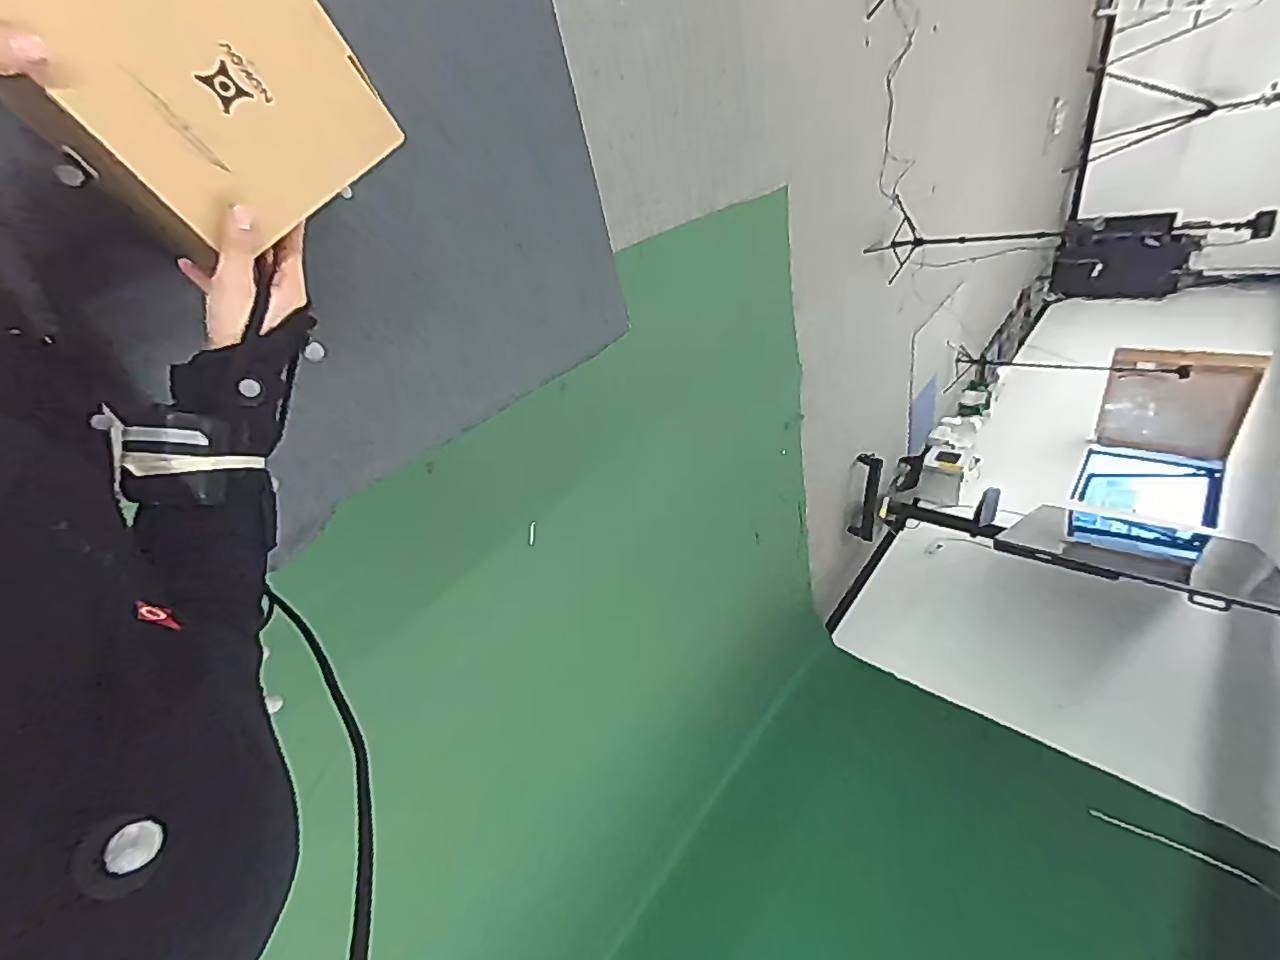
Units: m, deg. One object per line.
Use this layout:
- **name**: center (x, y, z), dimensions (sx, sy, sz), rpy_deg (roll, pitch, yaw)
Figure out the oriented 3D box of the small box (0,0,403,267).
- **small box**: center (-0.329, -0.286, 0.409), dimensions (0.179, 0.176, 0.168), rpy_deg (-54, 137, -18)
